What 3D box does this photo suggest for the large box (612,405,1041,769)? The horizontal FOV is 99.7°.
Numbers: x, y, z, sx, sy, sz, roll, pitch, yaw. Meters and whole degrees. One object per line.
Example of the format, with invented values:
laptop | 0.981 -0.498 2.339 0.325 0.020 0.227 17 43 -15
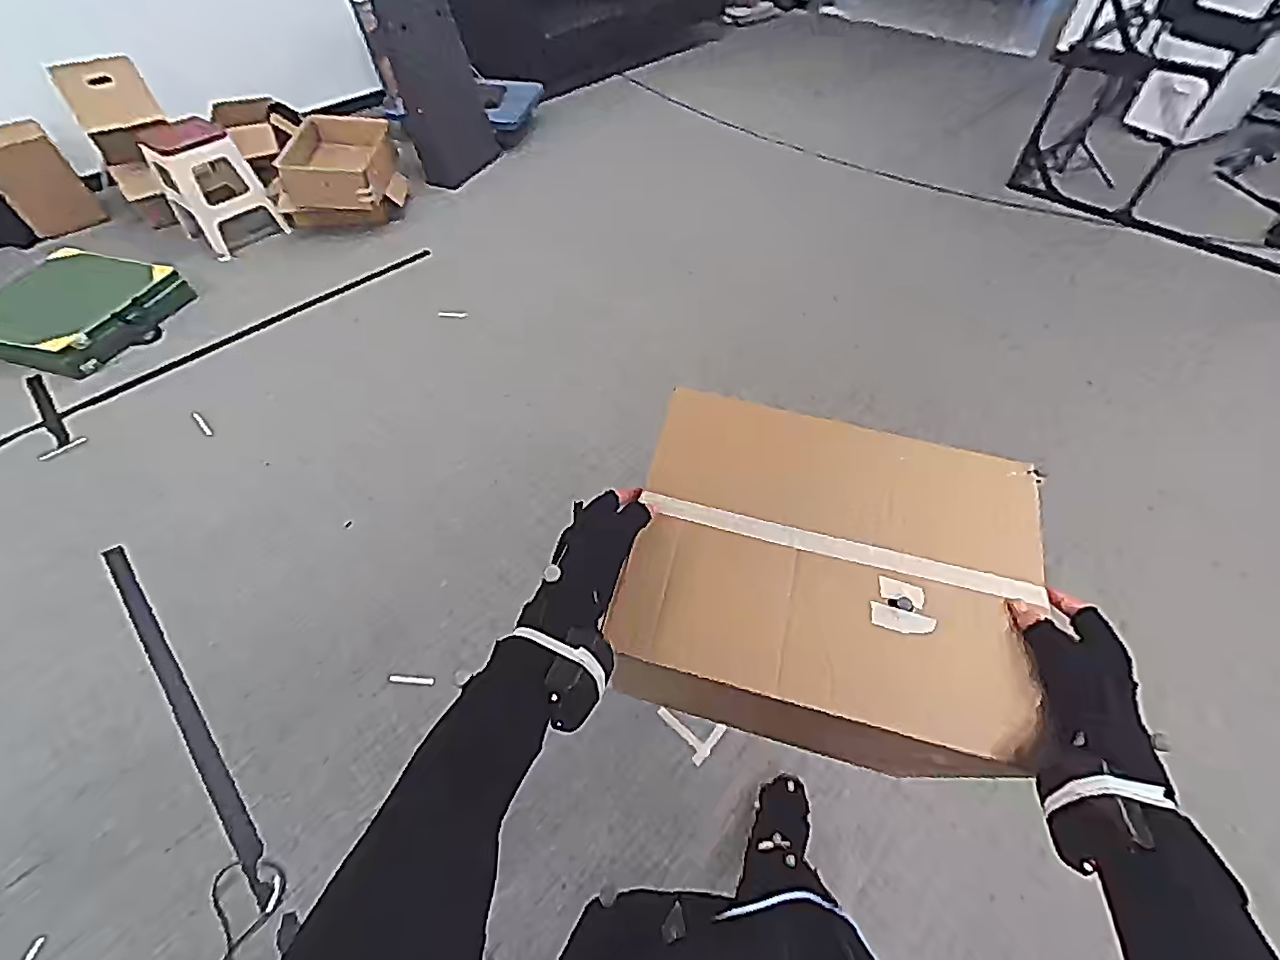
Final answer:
large box | 0.197 0.150 0.696 0.408 0.320 0.320 14 63 7
